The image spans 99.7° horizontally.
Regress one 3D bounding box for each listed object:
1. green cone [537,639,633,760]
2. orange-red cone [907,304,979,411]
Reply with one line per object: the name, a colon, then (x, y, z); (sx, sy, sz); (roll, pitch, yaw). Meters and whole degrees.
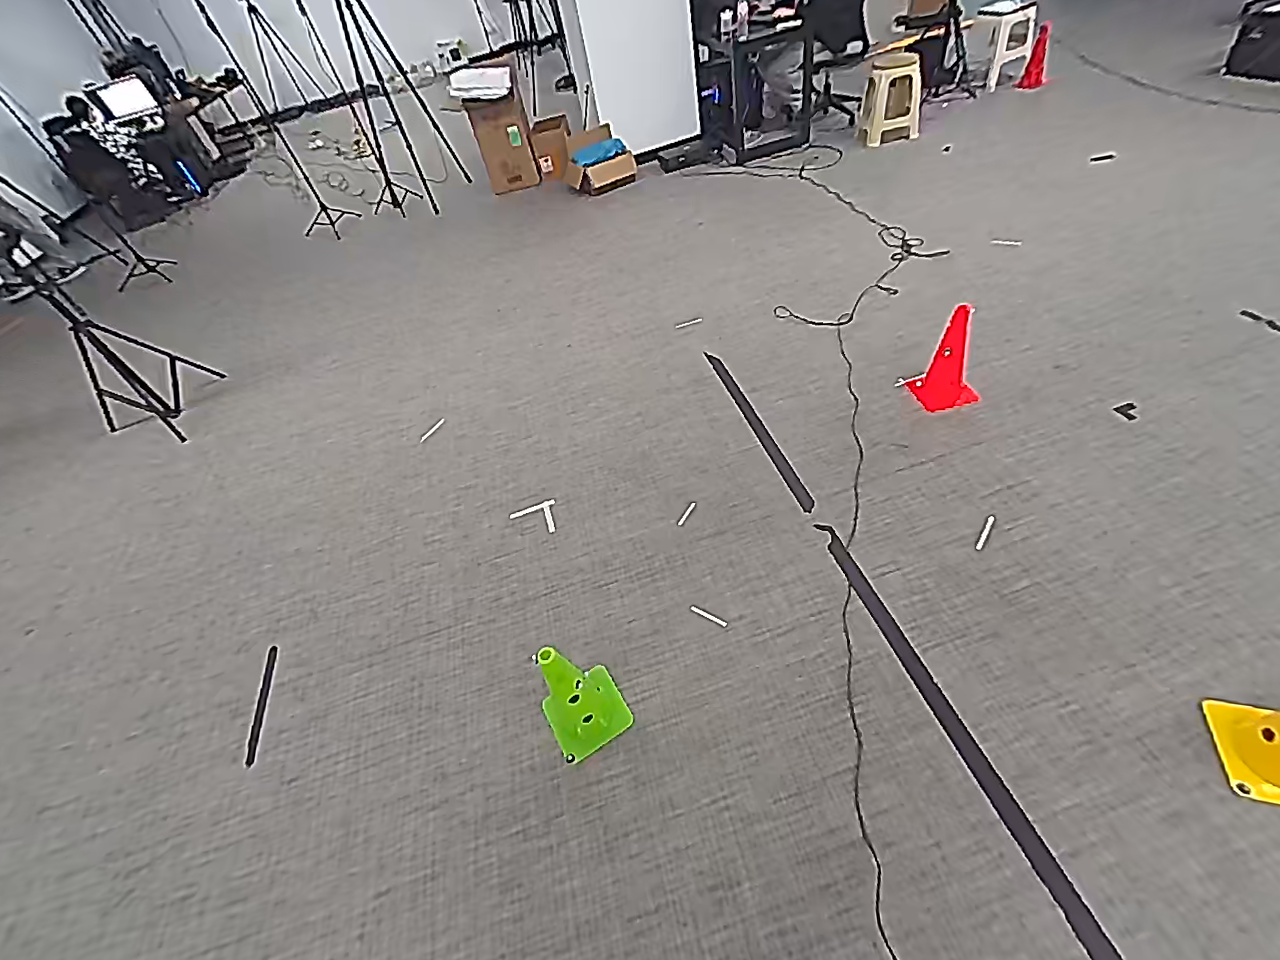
green cone: (-0.173, 0.500, 1.337); (0.200, 0.368, 0.202); (-29, 46, -14)
orange-red cone: (1.102, -0.450, 1.906); (0.198, 0.360, 0.199); (-13, 47, 3)
